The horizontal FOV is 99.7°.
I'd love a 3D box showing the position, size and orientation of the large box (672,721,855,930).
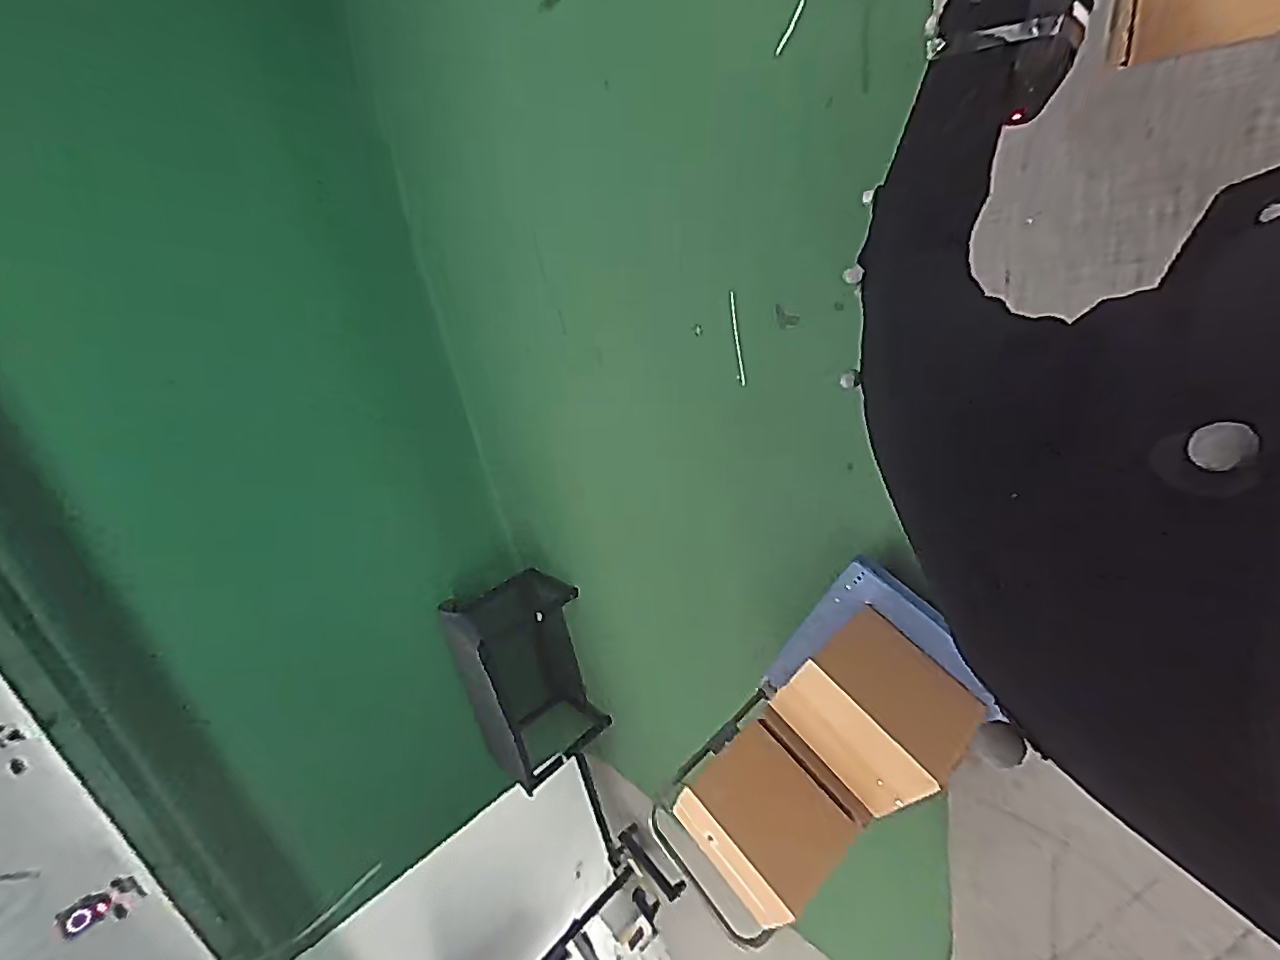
[{"bbox_3d":[0.358,1.036,1.639,0.408,0.320,0.320,43,145,29],"label":"large box"}]
